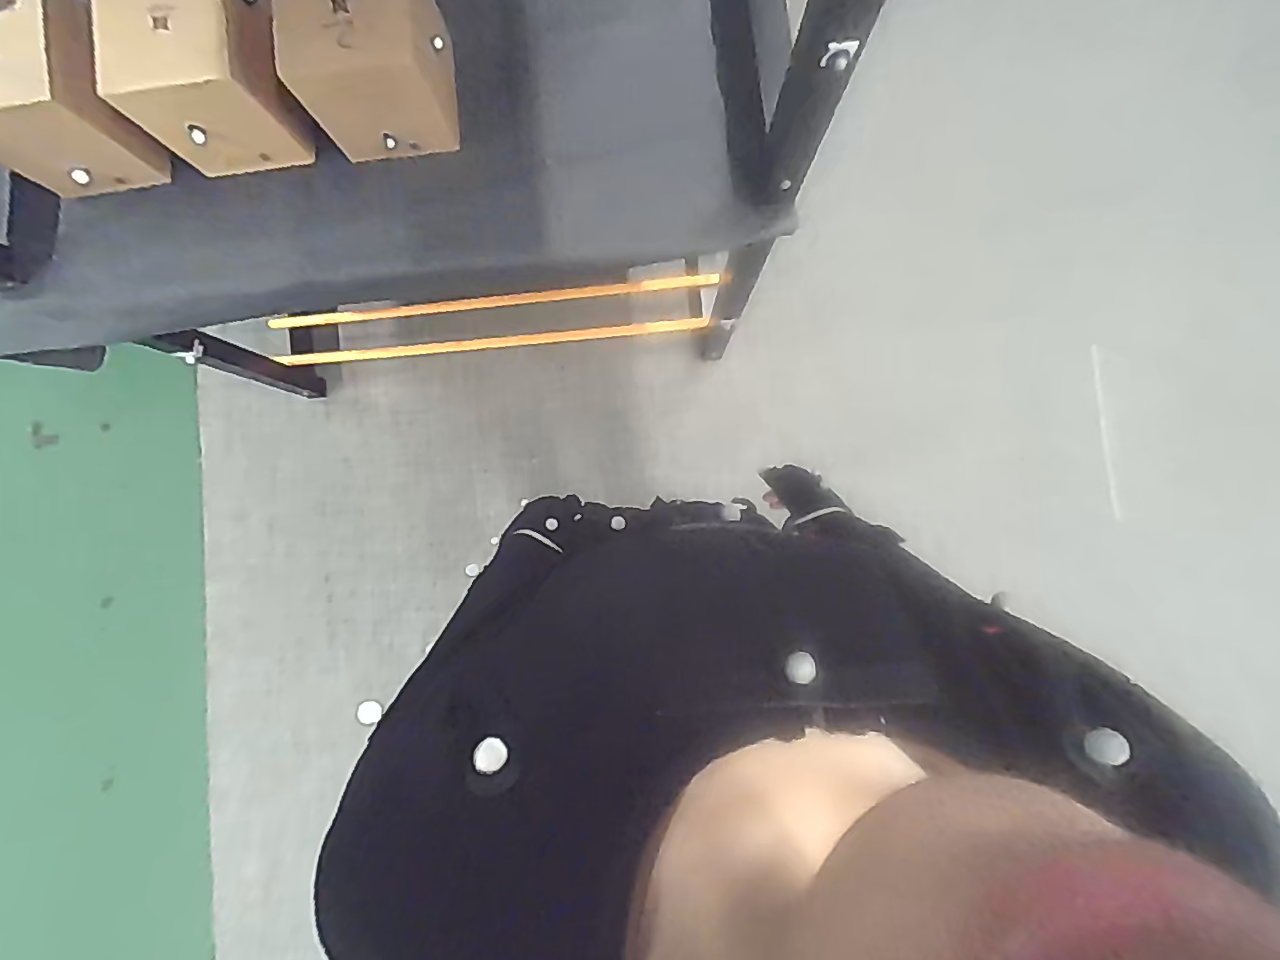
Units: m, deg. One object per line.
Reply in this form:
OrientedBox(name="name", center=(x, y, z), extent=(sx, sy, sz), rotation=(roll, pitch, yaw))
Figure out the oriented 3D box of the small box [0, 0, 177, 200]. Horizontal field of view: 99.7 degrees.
OrientedBox(name="small box", center=(-0.788, -0.521, 0.741), extent=(0.168, 0.176, 0.179), rotation=(-8, 86, 1))
